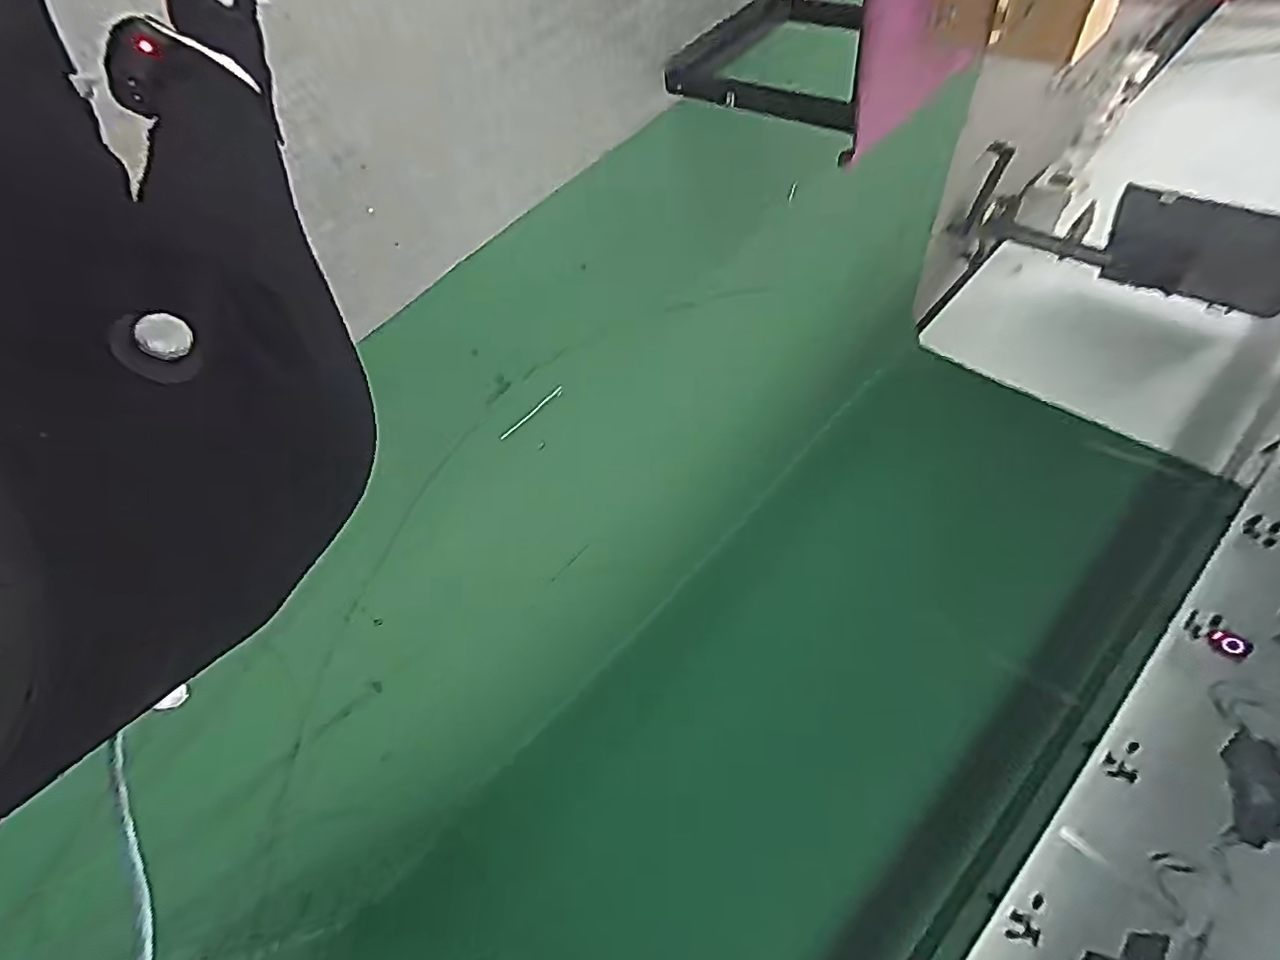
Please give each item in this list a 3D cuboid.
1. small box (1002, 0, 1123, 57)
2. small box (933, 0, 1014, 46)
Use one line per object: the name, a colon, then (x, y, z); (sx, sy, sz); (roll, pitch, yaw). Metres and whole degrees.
small box: (0.928, -1.055, 1.159); (0.179, 0.176, 0.168); (-44, 150, -12)
small box: (0.812, -1.141, 1.236); (0.179, 0.176, 0.168); (-45, 149, -12)
